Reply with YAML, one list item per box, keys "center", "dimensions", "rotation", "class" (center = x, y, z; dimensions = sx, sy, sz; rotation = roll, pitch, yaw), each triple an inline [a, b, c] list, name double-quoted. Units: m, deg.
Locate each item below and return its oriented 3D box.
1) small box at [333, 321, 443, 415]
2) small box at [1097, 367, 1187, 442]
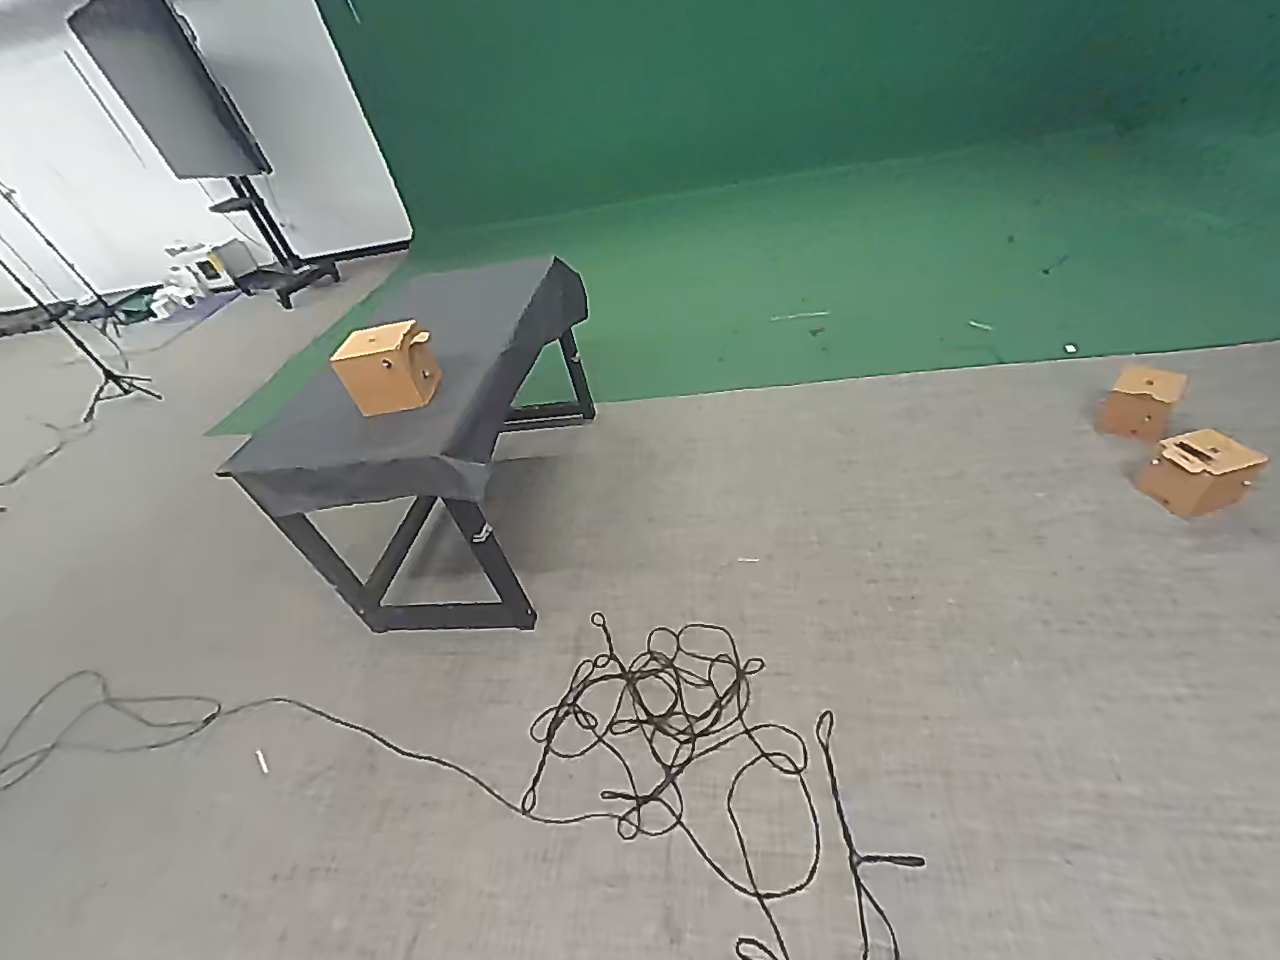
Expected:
- center: [-0.641, -0.285, 1.398]
  dimensions: [0.179, 0.176, 0.168]
  rotation: [-9, 40, 5]
  class: "small box"
- center: [1.686, -0.253, 1.824]
  dimensions: [0.168, 0.176, 0.179]
  rotation: [26, 53, 36]
  class: "small box"
